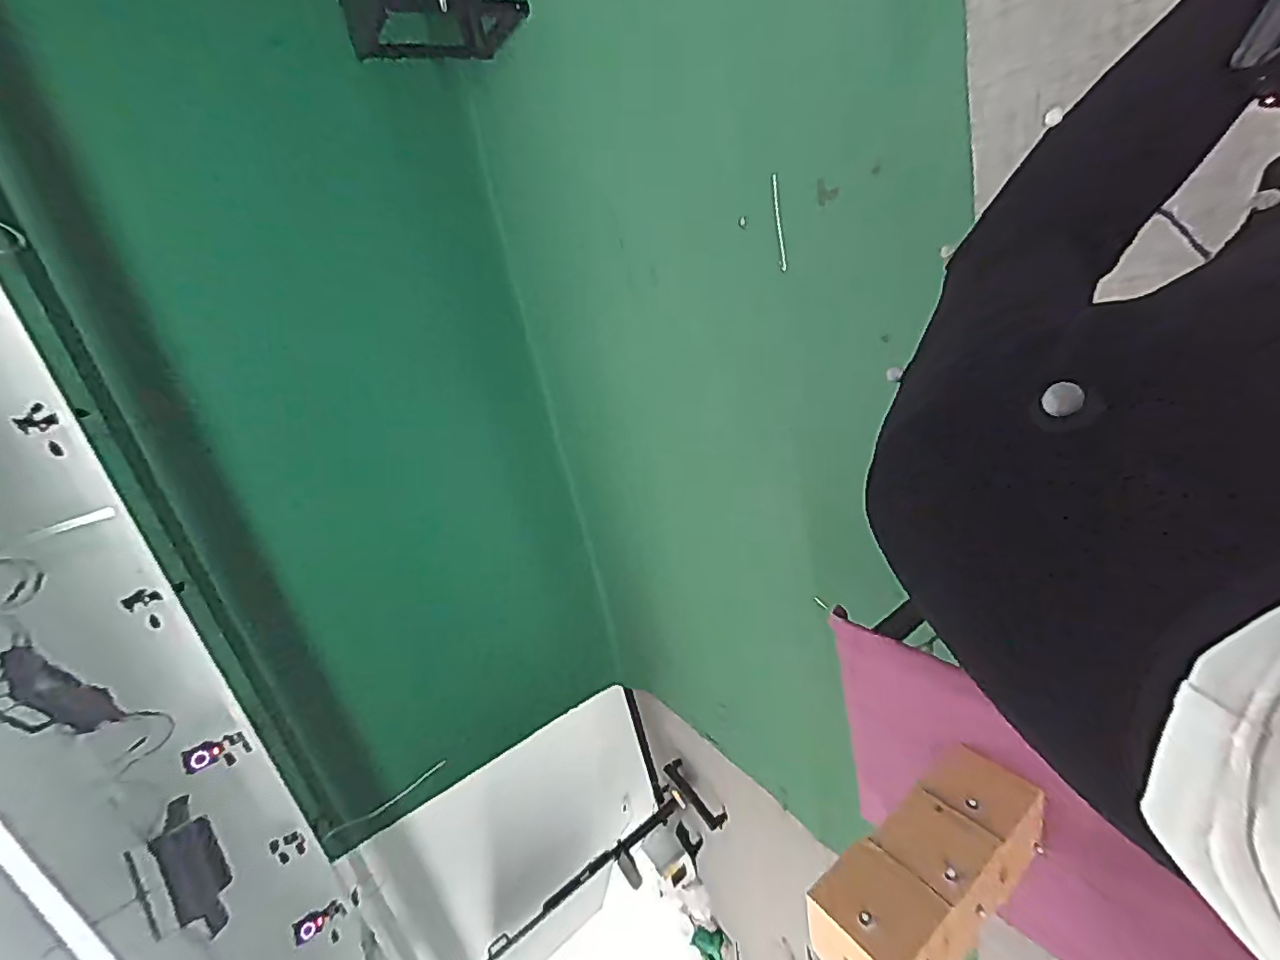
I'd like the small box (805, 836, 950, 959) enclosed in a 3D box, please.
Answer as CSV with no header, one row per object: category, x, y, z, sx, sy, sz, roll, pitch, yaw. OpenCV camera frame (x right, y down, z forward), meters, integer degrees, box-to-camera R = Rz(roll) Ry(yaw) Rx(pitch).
small box,0.419,0.786,0.952,0.179,0.176,0.168,20,127,53

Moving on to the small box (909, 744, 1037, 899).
small box,0.686,0.688,1.115,0.179,0.176,0.168,18,125,54
